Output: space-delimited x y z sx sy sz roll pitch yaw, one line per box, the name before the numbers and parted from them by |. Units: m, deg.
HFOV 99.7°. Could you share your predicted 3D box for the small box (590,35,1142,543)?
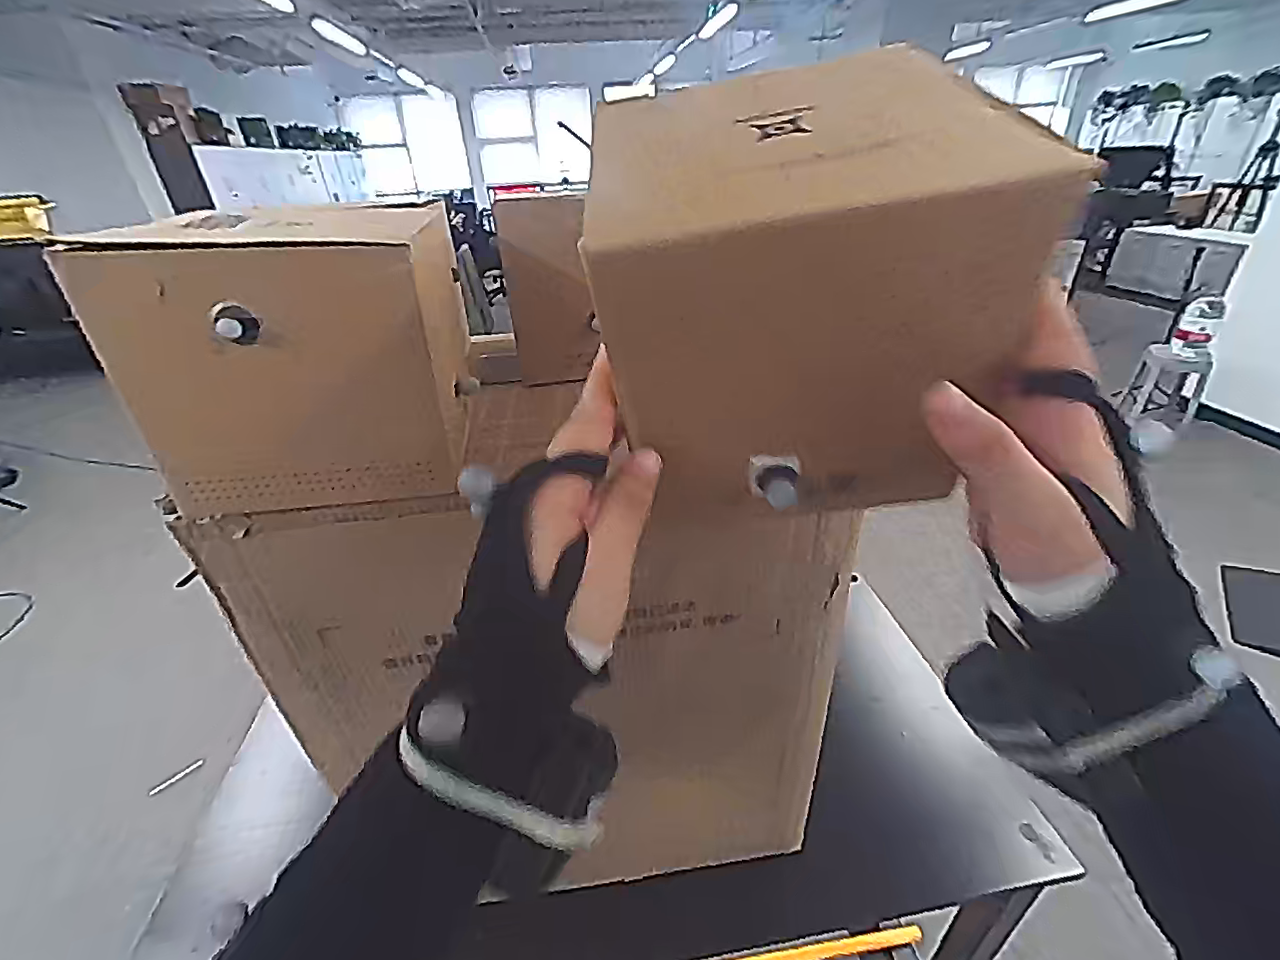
small box | 0.074 -0.091 0.277 0.168 0.176 0.179 -8 50 6
